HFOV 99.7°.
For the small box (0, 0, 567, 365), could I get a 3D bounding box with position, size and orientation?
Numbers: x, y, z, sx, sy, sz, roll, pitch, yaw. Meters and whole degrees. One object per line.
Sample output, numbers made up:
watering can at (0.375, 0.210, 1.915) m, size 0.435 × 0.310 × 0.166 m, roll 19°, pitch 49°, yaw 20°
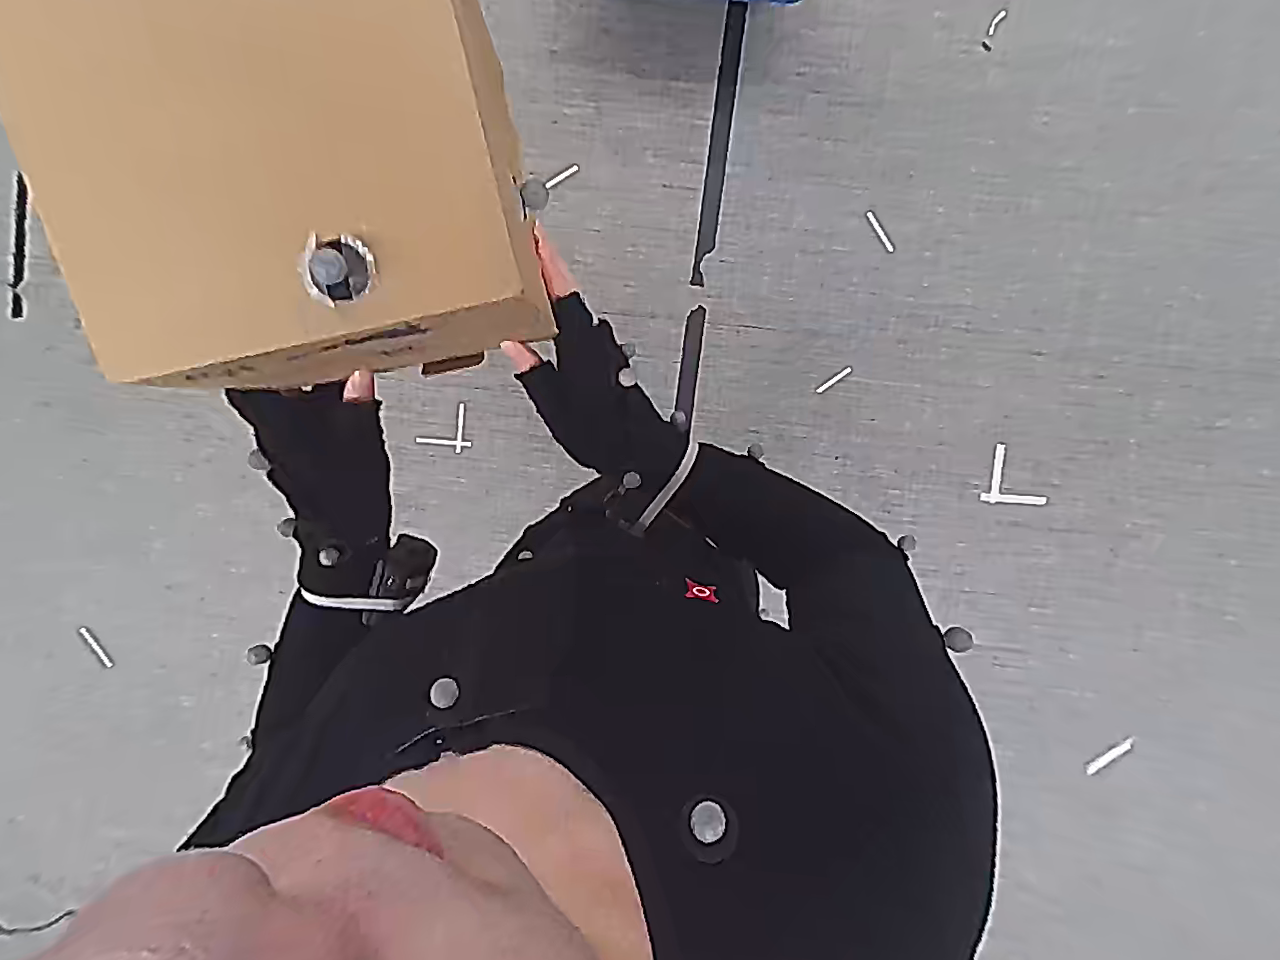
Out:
small box at (-0.140, -0.159, 0.274) m, size 0.168 × 0.179 × 0.176 m, roll -13°, pitch 102°, yaw 0°
